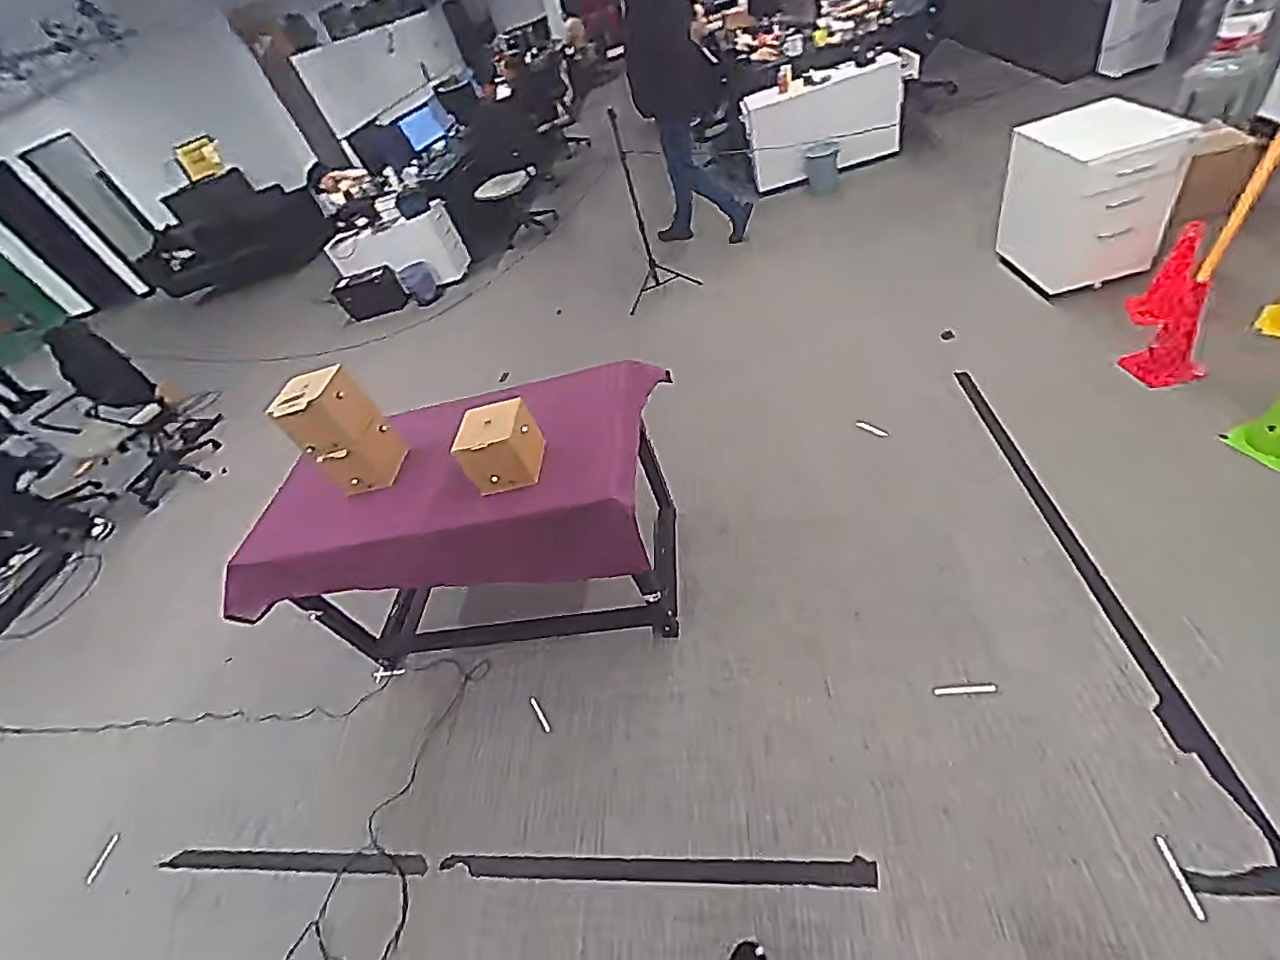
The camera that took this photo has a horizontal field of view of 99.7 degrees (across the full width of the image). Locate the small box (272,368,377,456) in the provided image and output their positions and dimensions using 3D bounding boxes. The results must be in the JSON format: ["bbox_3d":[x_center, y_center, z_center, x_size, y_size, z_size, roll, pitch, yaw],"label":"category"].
[{"bbox_3d":[-0.889,-0.185,1.543,0.168,0.176,0.179,-13,43,10],"label":"small box"}]

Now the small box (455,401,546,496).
[{"bbox_3d":[-0.367,-0.083,1.463,0.168,0.176,0.179,-12,44,12],"label":"small box"}]

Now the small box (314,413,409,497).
[{"bbox_3d":[-0.840,-0.073,1.653,0.168,0.176,0.179,-11,44,14],"label":"small box"}]
